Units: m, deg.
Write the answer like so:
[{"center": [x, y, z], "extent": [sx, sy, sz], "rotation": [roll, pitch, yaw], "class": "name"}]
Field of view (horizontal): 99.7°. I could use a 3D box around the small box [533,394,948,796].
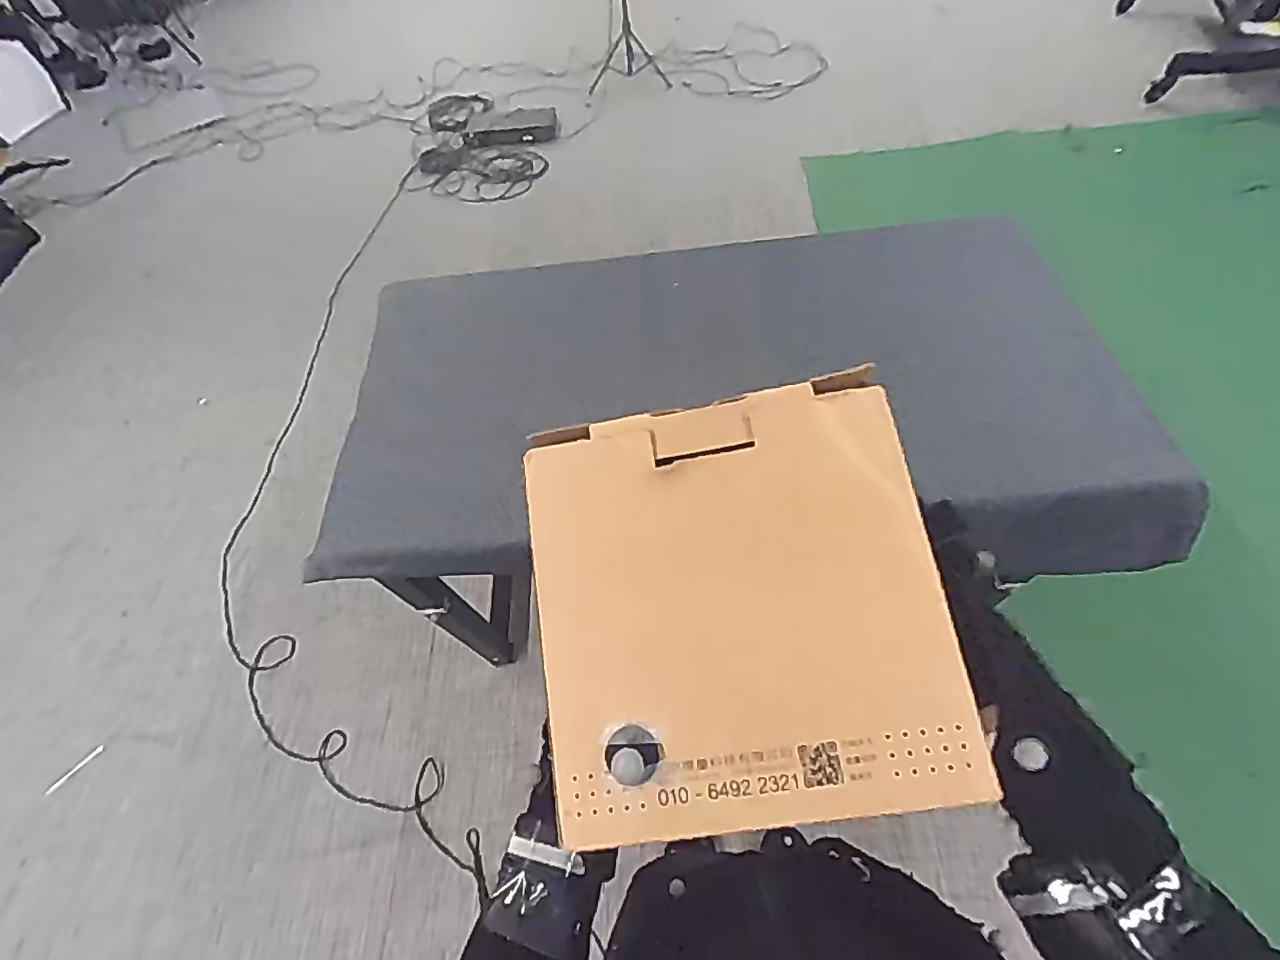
[{"center": [0.050, 0.072, 0.321], "extent": [0.168, 0.179, 0.176], "rotation": [-10, 74, 6], "class": "small box"}]
